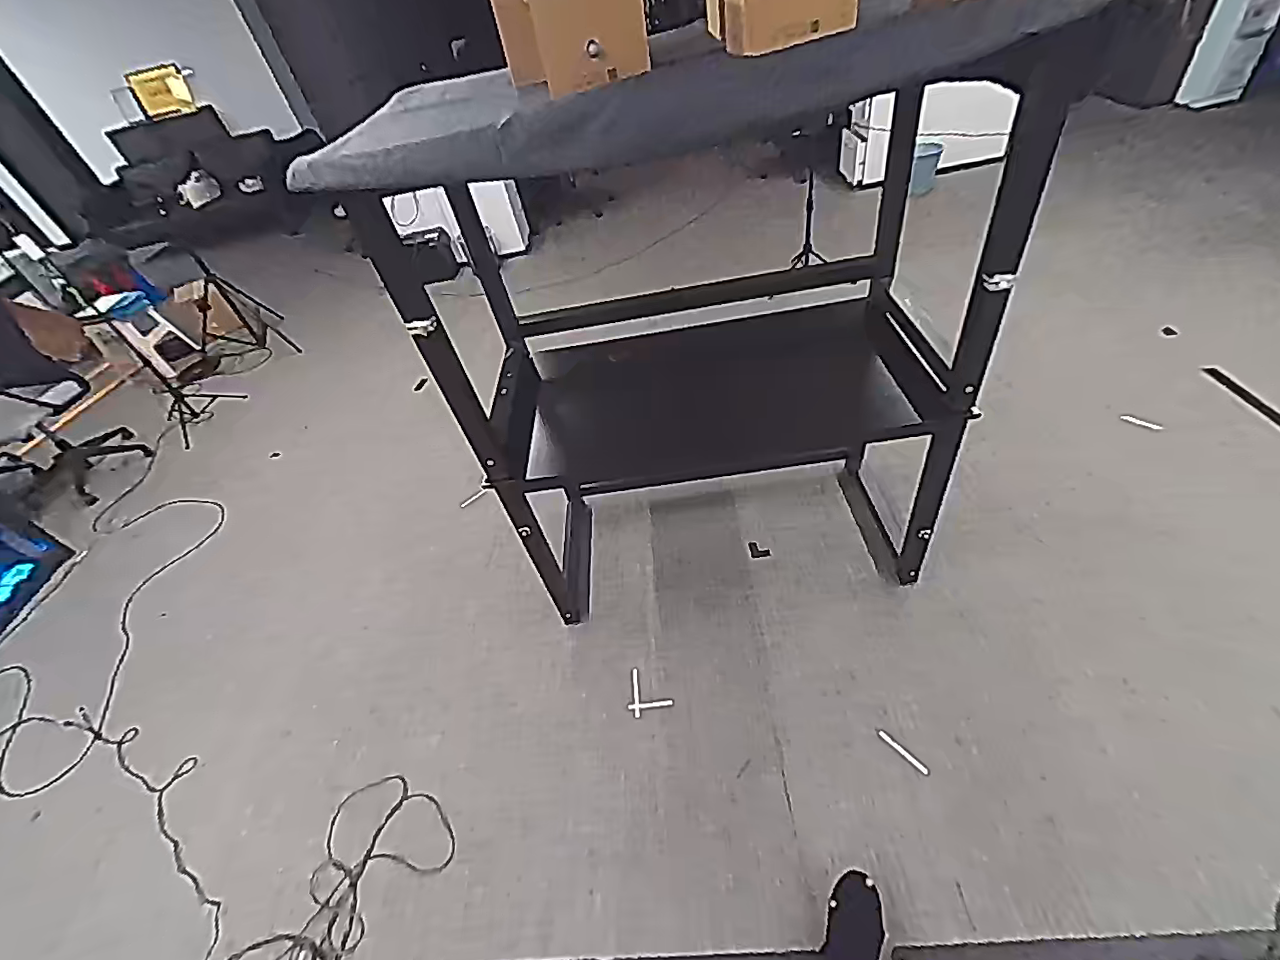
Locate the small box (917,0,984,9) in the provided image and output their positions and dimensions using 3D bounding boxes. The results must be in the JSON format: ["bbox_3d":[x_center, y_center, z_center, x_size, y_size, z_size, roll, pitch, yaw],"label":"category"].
[{"bbox_3d":[0.518,-0.799,0.771,0.168,0.176,0.179,-7,41,8],"label":"small box"}]

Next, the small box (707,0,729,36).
[{"bbox_3d":[0.213,-0.948,1.002,0.168,0.176,0.179,-9,44,5],"label":"small box"}]

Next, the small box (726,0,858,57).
[{"bbox_3d":[0.222,-0.754,0.804,0.168,0.176,0.179,-10,42,4],"label":"small box"}]
